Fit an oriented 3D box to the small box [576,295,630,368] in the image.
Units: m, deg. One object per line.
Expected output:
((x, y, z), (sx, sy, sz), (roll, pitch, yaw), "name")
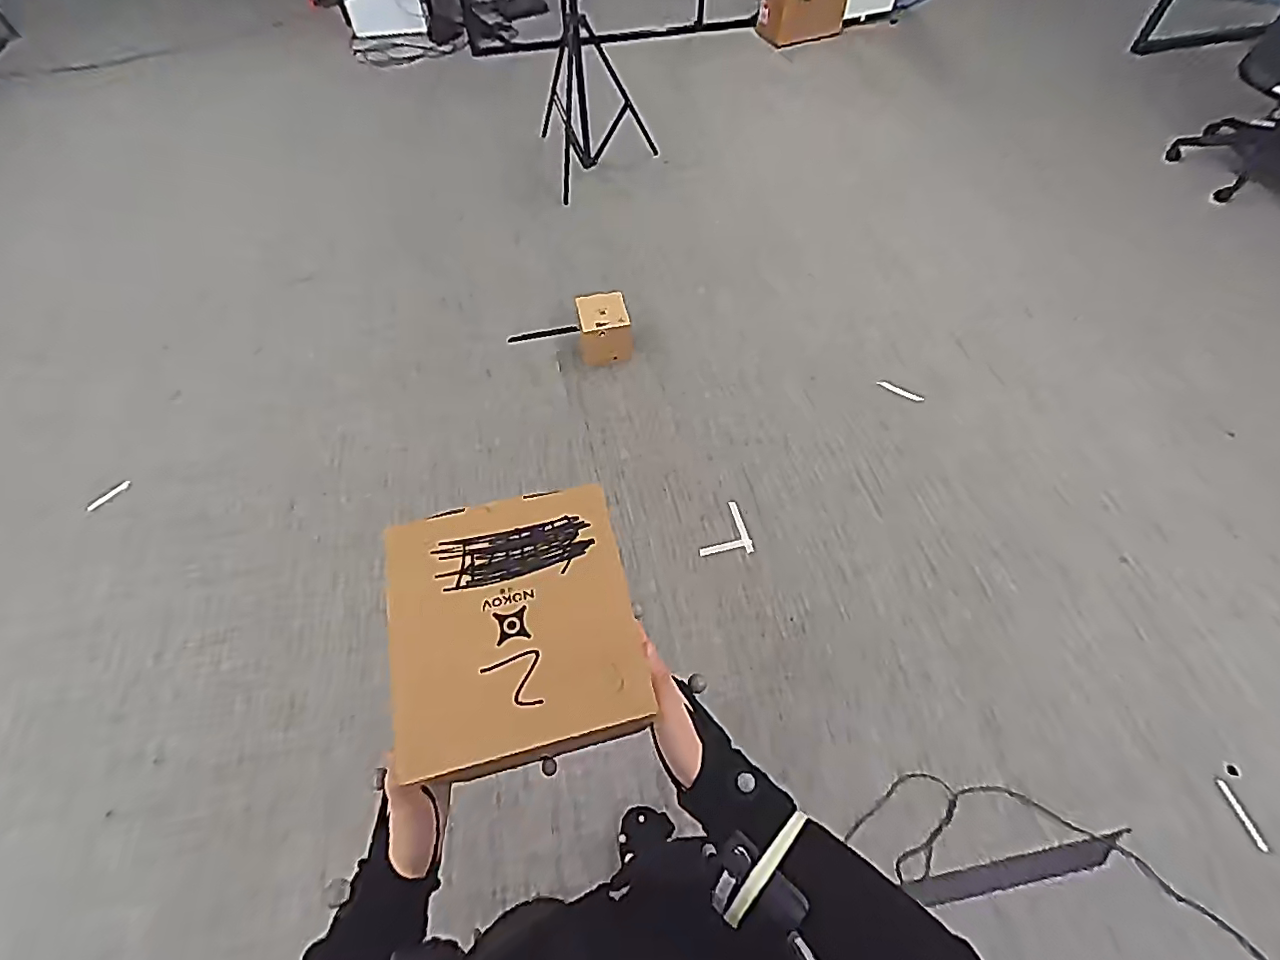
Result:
((-0.131, -0.531, 1.936), (0.168, 0.176, 0.179), (-11, 58, -6), "small box")
